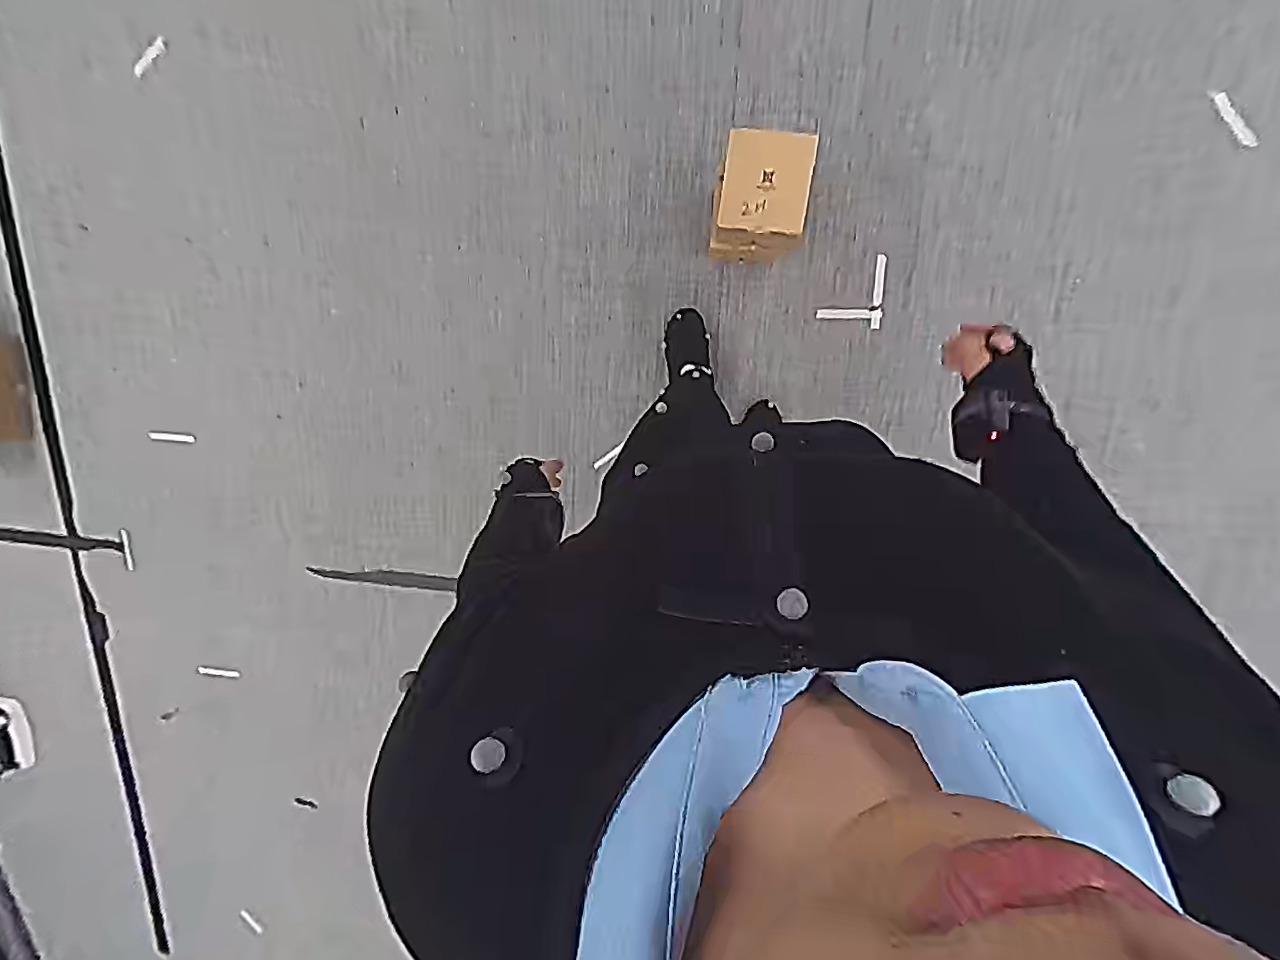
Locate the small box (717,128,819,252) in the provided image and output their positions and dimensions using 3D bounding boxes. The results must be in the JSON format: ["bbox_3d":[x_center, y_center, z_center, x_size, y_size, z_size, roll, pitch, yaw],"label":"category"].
[{"bbox_3d":[0.250,-0.579,1.097,0.168,0.176,0.179,8,104,6],"label":"small box"}]

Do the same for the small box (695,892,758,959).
[{"bbox_3d":[0.240,1.303,1.507,0.168,0.176,0.179,-1,102,7],"label":"small box"}]
